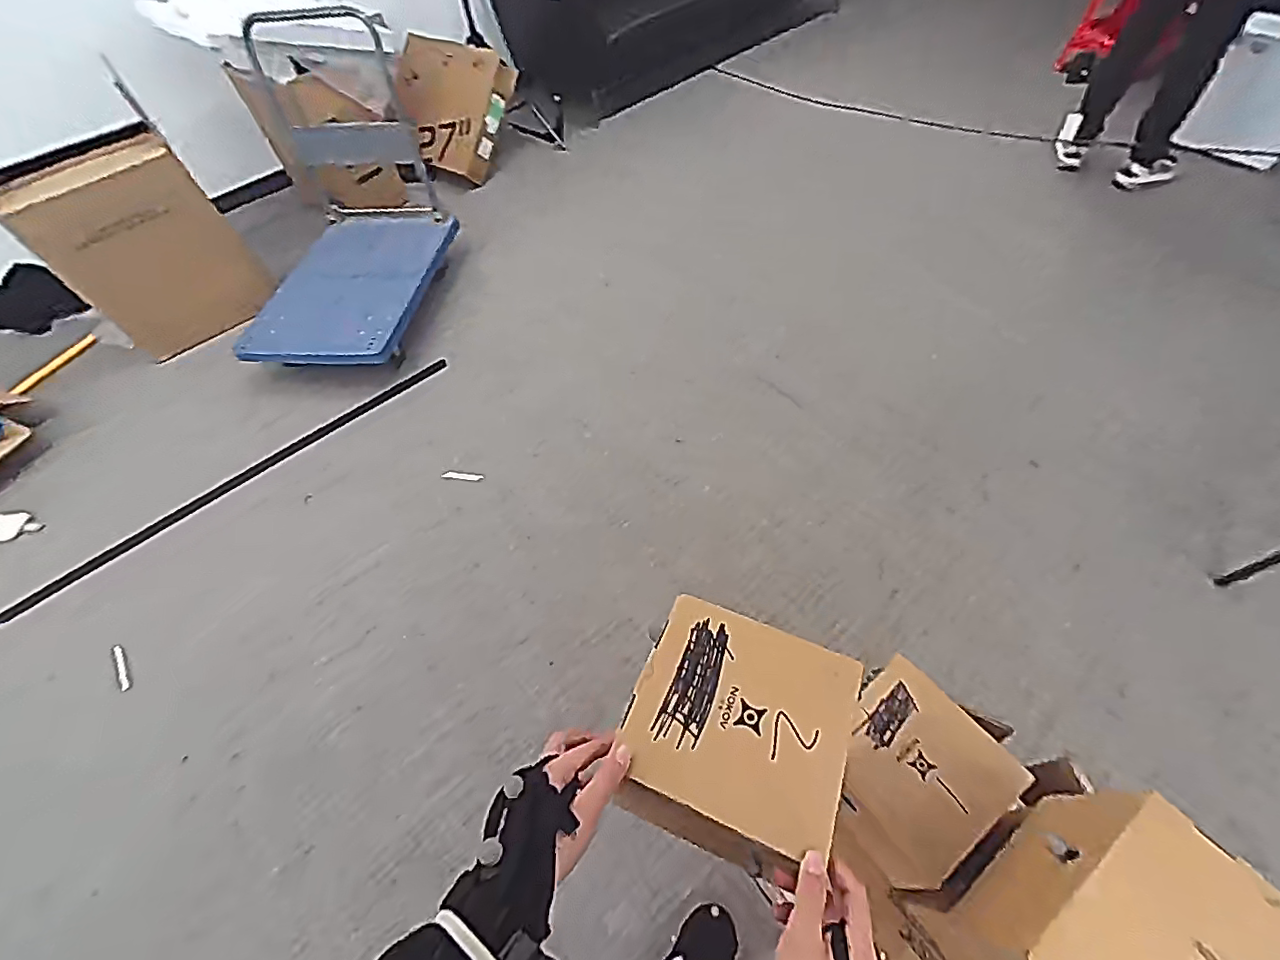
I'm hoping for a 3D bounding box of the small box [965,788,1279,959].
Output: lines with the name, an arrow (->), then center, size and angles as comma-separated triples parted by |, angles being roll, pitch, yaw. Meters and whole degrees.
small box -> 0.404, 0.390, 0.439 | 0.179, 0.176, 0.168 | -35, 60, -16
